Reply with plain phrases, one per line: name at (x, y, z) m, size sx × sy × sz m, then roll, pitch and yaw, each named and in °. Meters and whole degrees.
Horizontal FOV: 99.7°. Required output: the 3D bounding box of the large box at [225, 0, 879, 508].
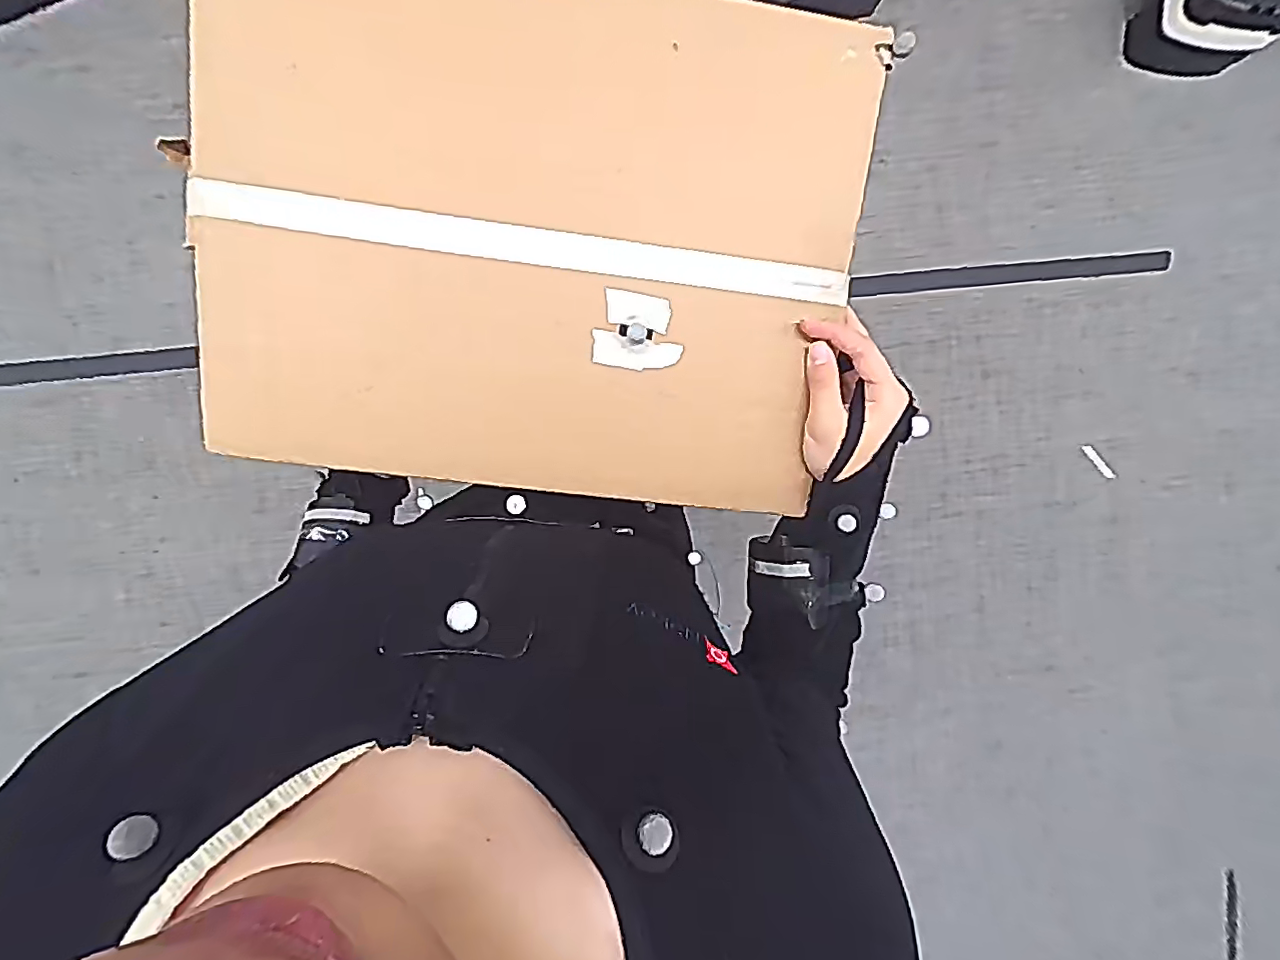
large box at (-0.071, -0.170, 0.498) m, size 0.408 × 0.320 × 0.320 m, roll 6°, pitch 101°, yaw -7°
